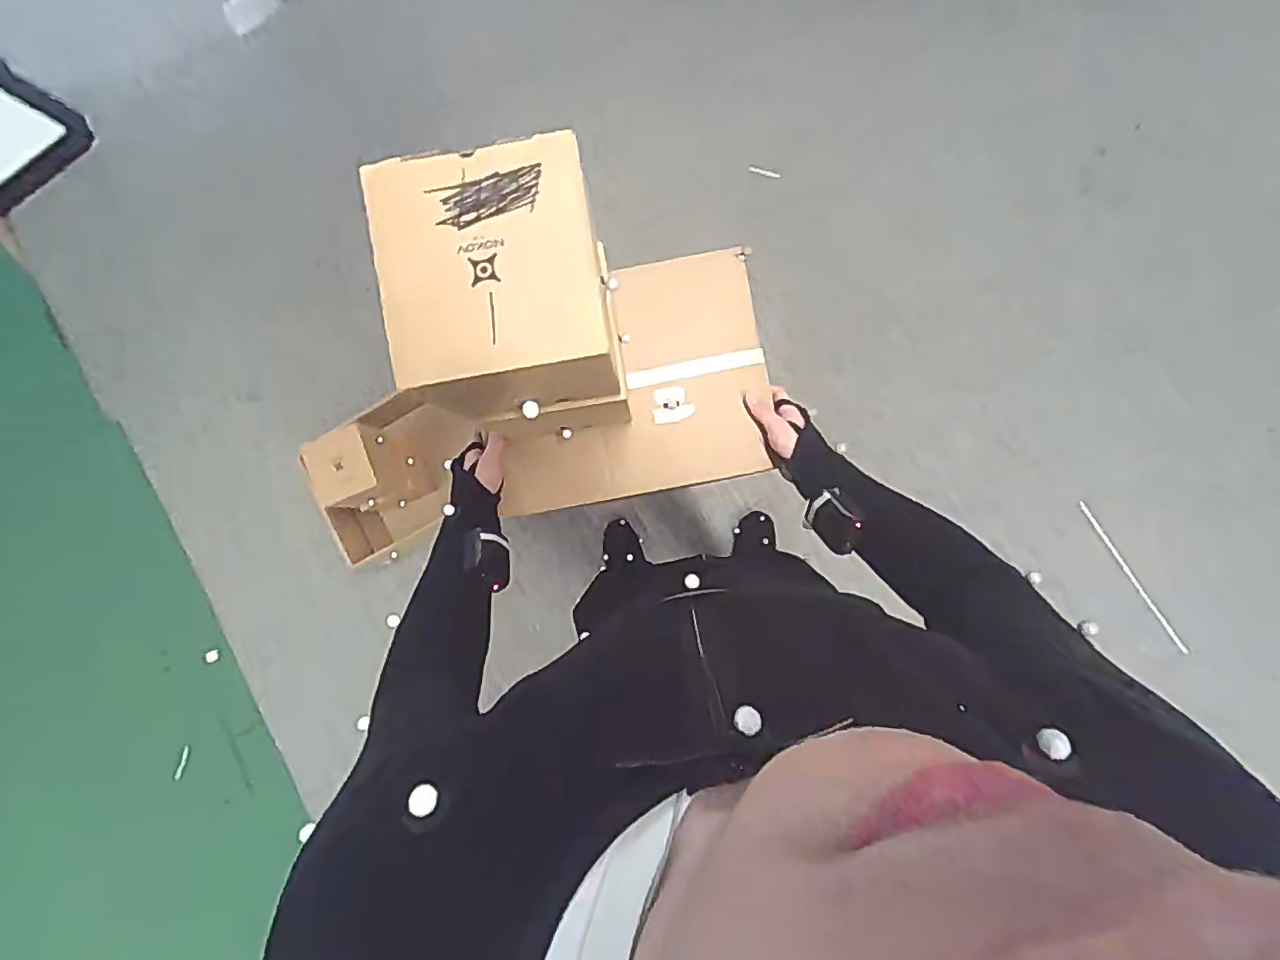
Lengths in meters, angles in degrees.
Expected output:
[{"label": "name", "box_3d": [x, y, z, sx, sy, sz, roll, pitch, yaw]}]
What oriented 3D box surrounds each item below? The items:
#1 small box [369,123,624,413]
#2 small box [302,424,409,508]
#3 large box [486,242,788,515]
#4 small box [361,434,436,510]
[{"label": "small box", "box_3d": [-0.109, -0.168, 0.481, 0.168, 0.176, 0.179, -10, 89, 1]}, {"label": "small box", "box_3d": [-0.762, -0.031, 1.463, 0.168, 0.176, 0.179, -22, 86, 3]}, {"label": "large box", "box_3d": [-0.020, -0.135, 0.888, 0.408, 0.320, 0.320, -11, 89, 0]}, {"label": "small box", "box_3d": [-0.747, -0.017, 1.624, 0.168, 0.176, 0.179, -26, 86, 2]}]
